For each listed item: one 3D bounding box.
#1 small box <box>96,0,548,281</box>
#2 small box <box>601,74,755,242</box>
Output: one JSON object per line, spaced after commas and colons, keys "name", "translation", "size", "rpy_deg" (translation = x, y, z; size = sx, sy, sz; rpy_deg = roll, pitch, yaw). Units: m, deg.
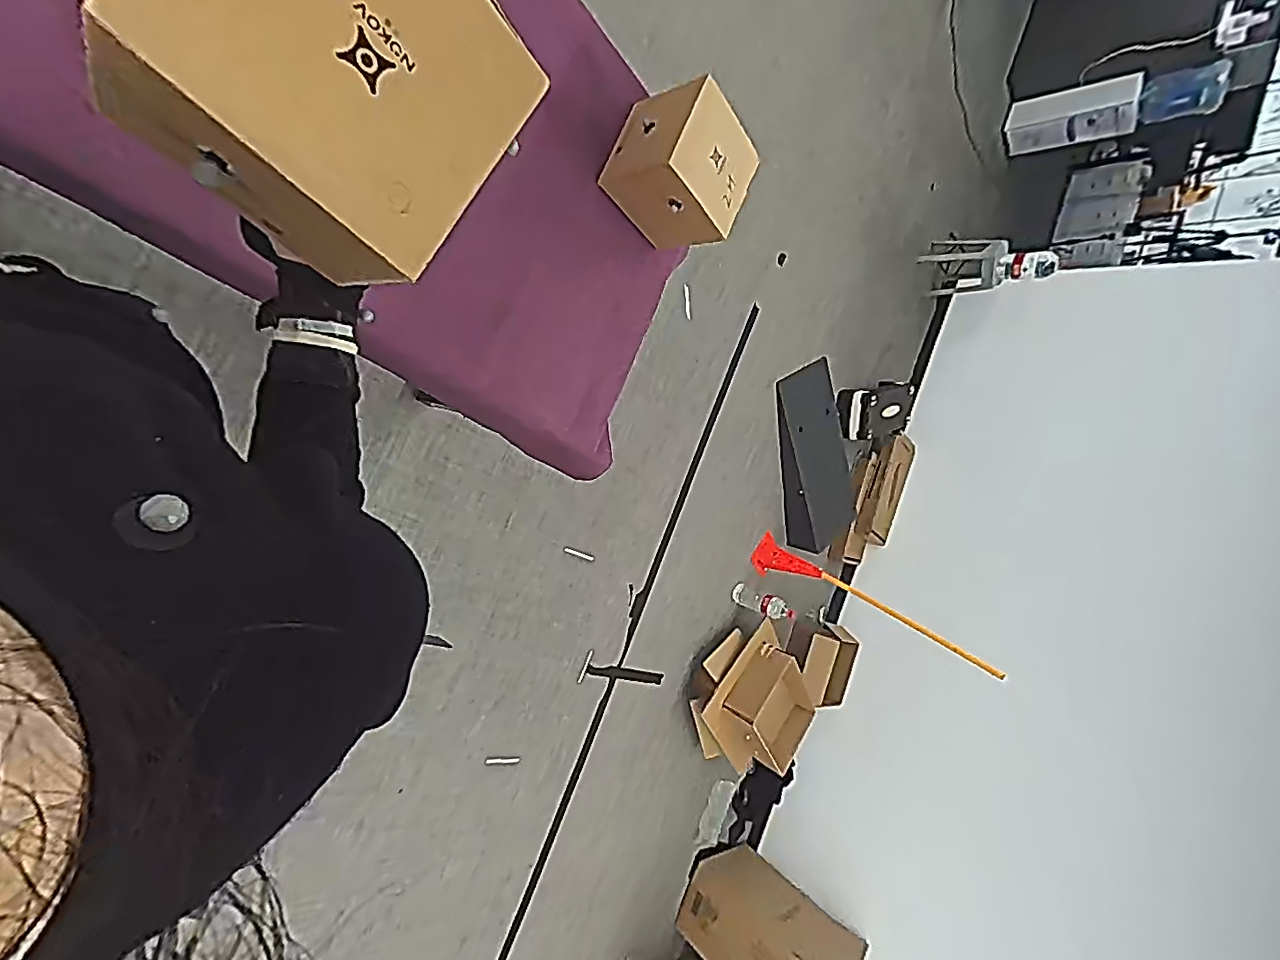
{"name": "small box", "translation": [-0.202, -0.254, 0.359], "size": [0.168, 0.176, 0.179], "rpy_deg": [39, 74, -44]}
{"name": "small box", "translation": [0.062, -0.532, 0.928], "size": [0.179, 0.176, 0.168], "rpy_deg": [31, 80, -46]}
